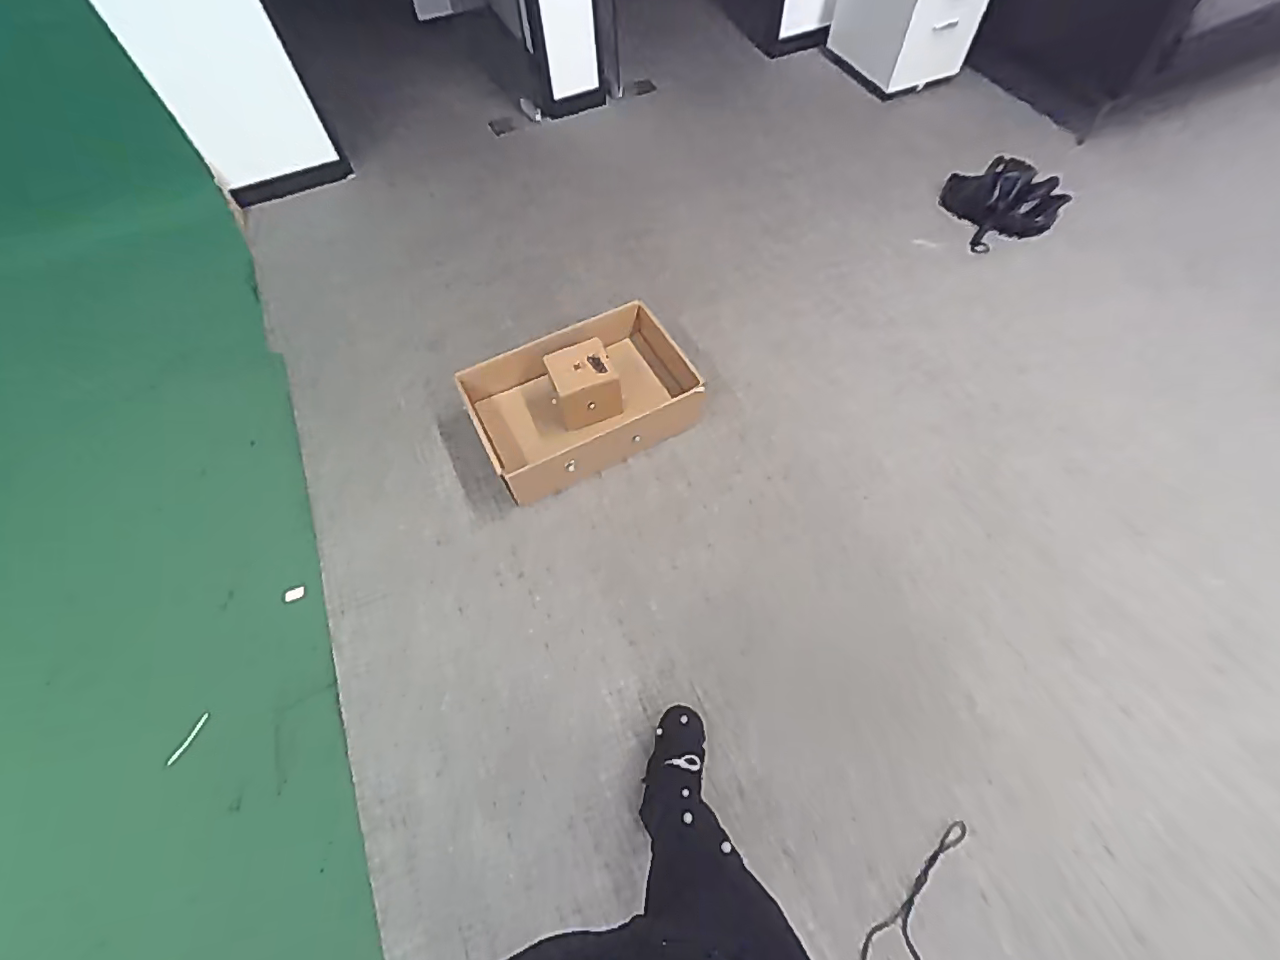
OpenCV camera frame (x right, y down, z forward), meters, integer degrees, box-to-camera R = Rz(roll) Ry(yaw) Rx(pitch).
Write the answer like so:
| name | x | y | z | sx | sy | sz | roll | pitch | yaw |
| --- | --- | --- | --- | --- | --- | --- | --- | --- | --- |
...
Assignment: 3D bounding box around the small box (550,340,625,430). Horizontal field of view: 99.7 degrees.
| name | x | y | z | sx | sy | sz | roll | pitch | yaw |
| --- | --- | --- | --- | --- | --- | --- | --- | --- | --- |
| small box | -0.150 | -0.278 | 1.608 | 0.179 | 0.176 | 0.168 | -21 | 61 | -6 |
